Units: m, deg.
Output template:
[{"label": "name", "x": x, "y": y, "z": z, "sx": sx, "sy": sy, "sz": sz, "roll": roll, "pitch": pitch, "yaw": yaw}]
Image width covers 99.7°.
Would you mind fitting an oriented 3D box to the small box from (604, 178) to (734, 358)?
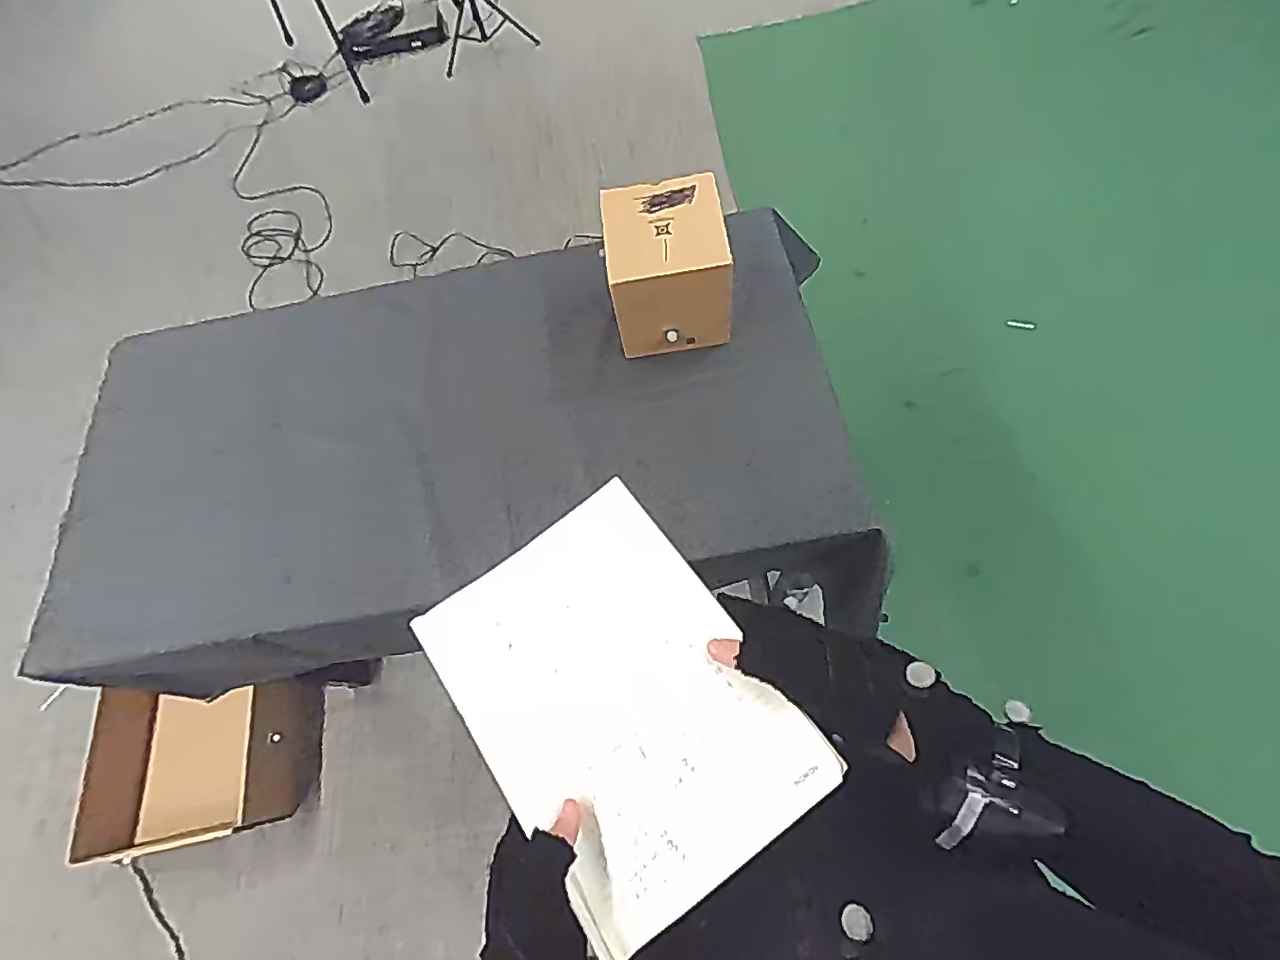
[{"label": "small box", "x": 0.044, "y": -0.310, "z": 0.811, "sx": 0.168, "sy": 0.176, "sz": 0.179, "roll": -8, "pitch": 66, "yaw": 5}]
